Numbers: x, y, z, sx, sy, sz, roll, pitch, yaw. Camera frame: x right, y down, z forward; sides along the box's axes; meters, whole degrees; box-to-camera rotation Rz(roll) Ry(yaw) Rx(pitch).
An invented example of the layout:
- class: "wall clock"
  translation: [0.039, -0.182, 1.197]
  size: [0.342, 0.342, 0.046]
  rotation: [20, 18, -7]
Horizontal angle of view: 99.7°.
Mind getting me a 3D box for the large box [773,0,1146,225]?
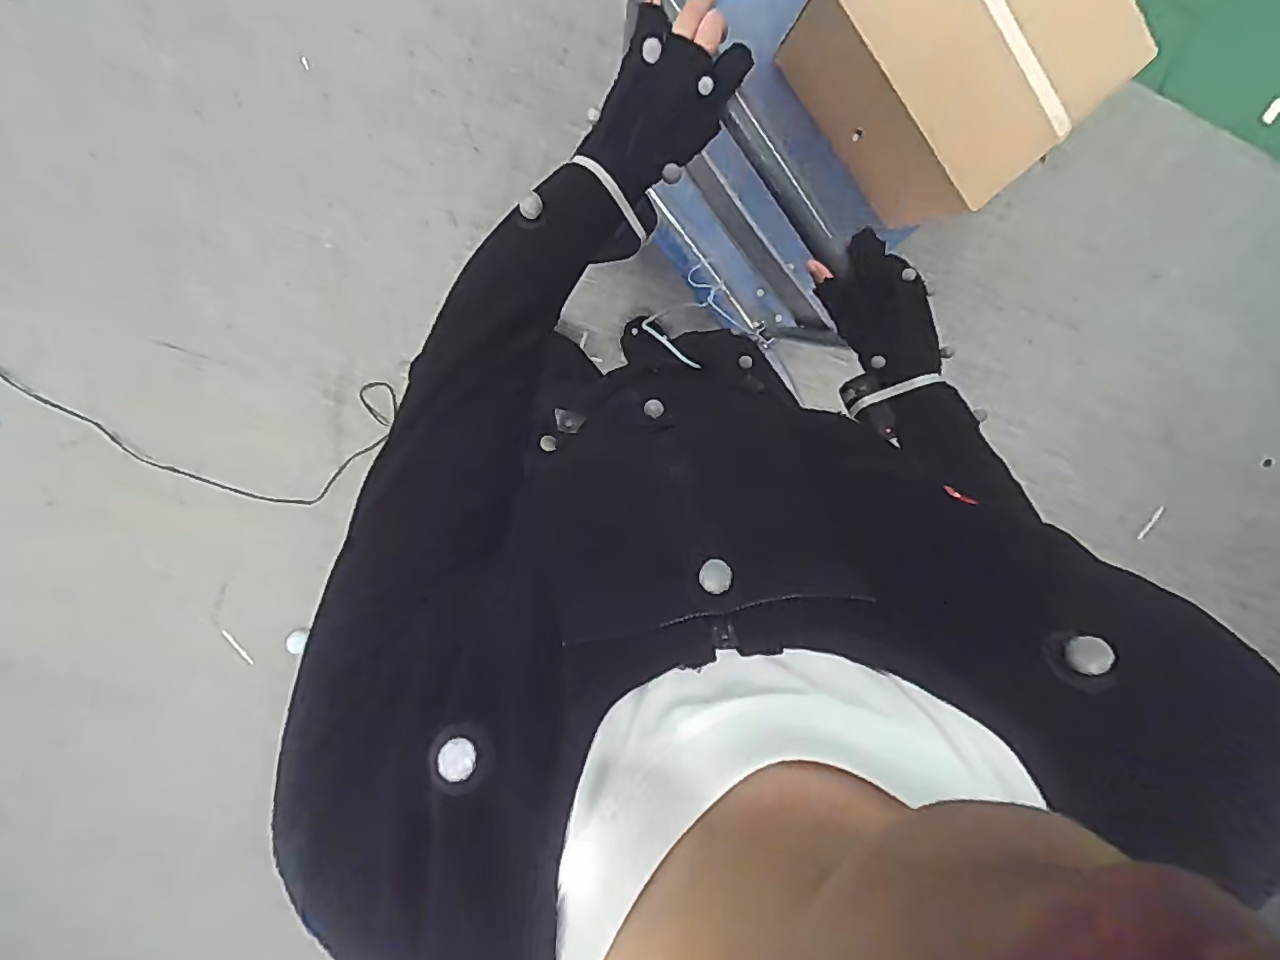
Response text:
- class: "large box"
  translation: [0.491, -0.709, 0.909]
  size: [0.320, 0.320, 0.408]
  rotation: [-40, 105, 13]
